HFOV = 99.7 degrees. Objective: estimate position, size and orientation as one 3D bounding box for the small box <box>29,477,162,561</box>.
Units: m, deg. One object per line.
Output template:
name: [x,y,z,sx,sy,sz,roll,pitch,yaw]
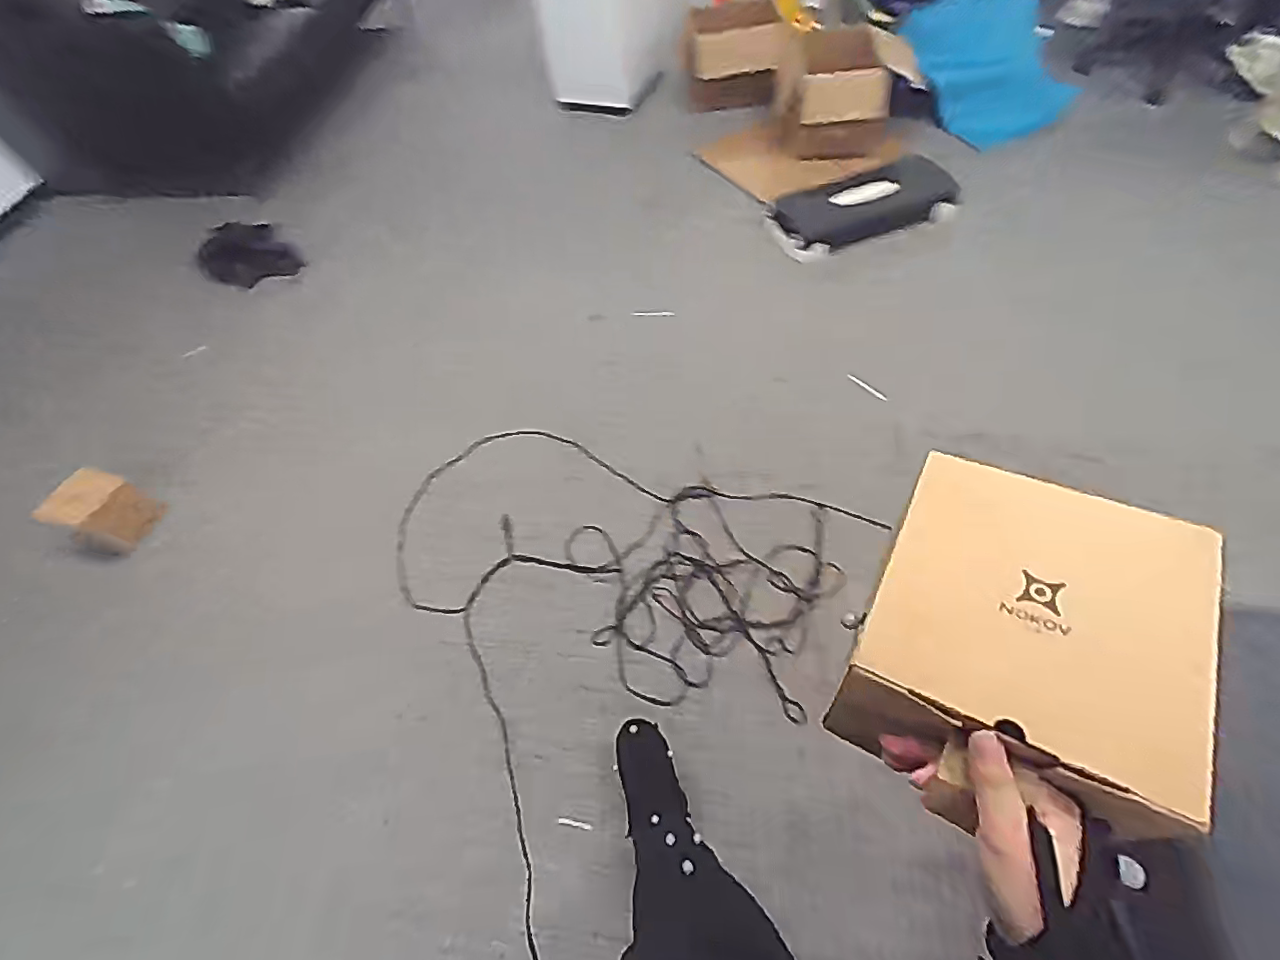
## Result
small box: [-1.557,0.116,1.561,0.179,0.176,0.168,11,58,14]
